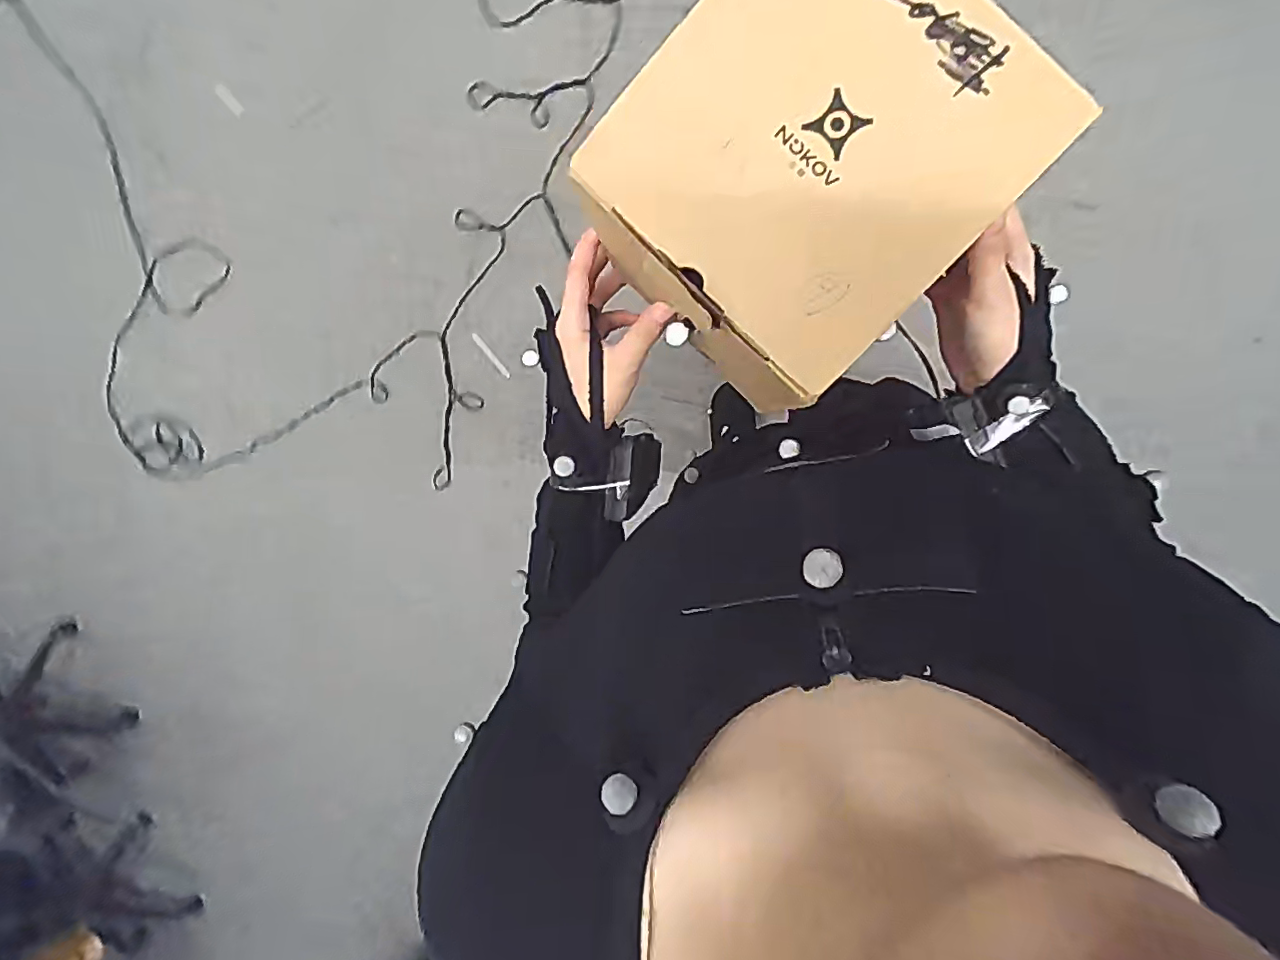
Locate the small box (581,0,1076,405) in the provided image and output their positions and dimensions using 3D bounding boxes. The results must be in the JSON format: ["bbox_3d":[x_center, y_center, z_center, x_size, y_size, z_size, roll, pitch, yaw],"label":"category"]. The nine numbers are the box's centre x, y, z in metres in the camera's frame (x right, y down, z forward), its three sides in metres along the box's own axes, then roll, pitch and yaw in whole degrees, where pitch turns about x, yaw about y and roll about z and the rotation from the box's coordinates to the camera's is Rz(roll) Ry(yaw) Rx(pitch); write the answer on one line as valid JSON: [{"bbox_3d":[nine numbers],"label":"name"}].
[{"bbox_3d":[0.094,-0.161,0.338,0.168,0.176,0.179,45,98,0],"label":"small box"}]
